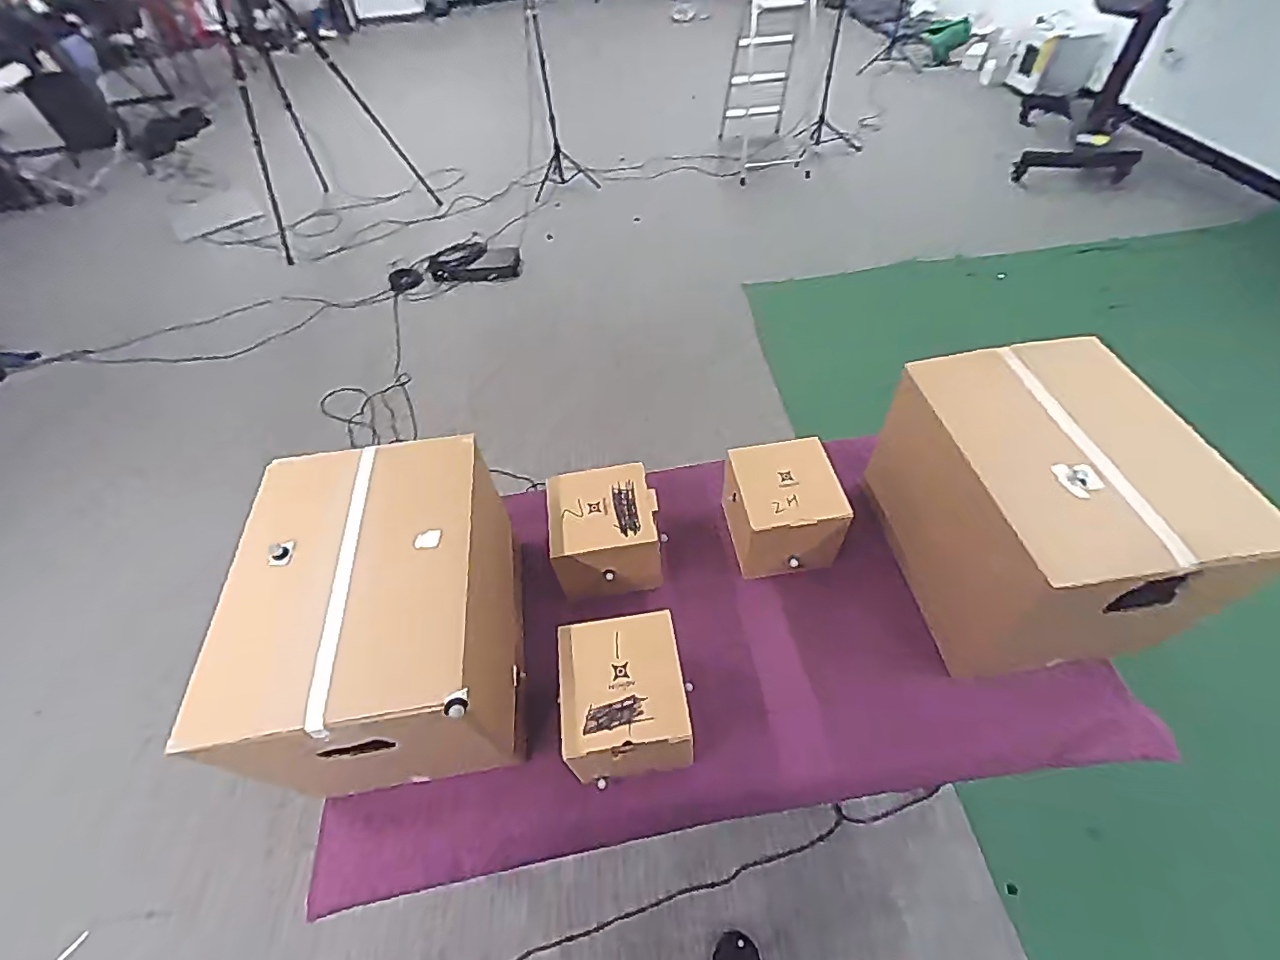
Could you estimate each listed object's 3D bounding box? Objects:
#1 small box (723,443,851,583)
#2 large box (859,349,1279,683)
[{"bbox_3d":[0.248,0.060,0.965,0.168,0.176,0.179,-9,51,-1],"label":"small box"},{"bbox_3d":[0.602,0.054,0.854,0.320,0.320,0.408,-9,52,-1],"label":"large box"}]
